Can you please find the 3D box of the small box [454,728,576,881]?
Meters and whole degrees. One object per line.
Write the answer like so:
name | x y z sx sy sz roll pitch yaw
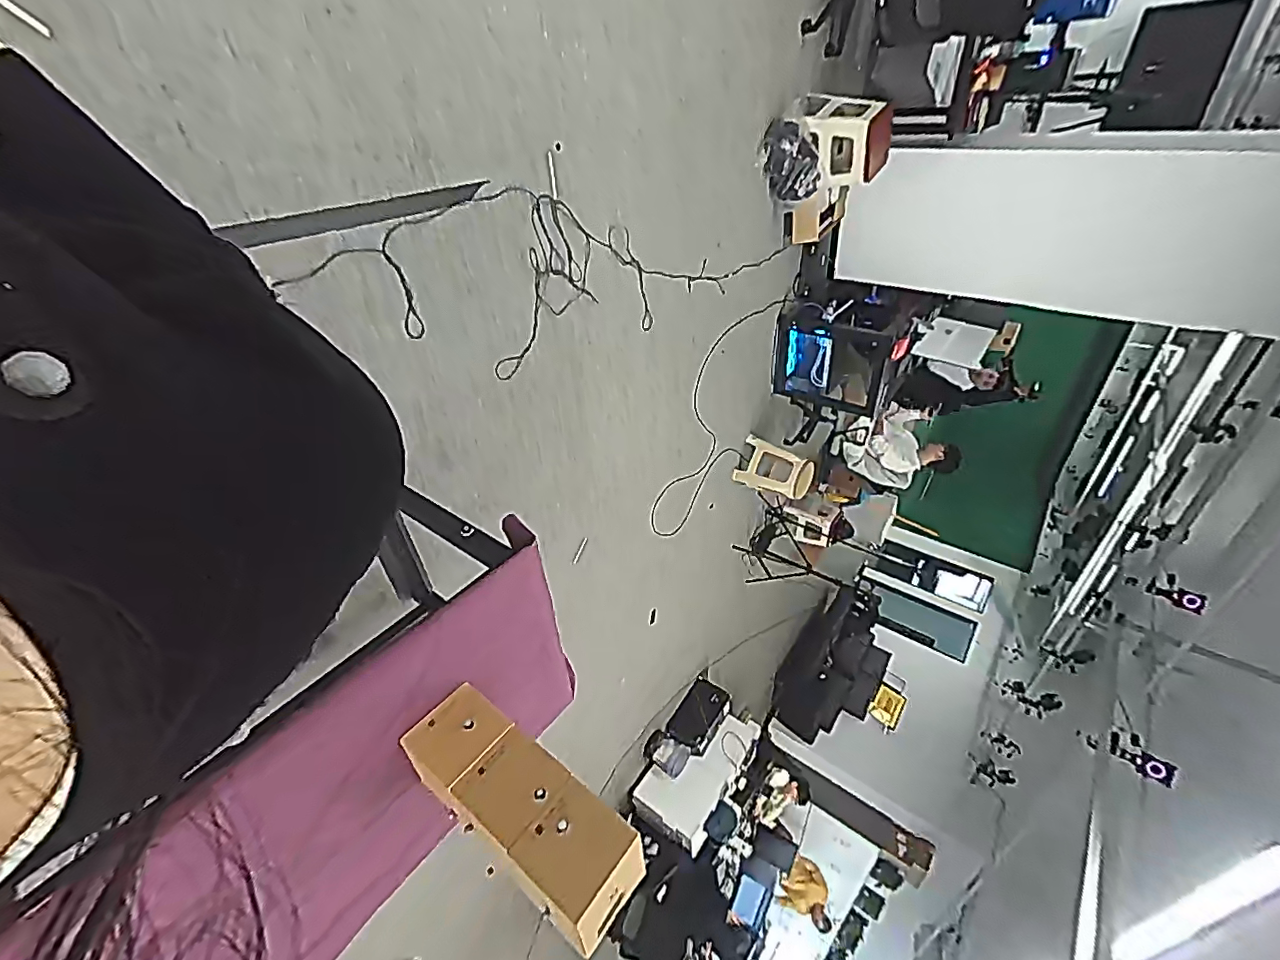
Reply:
small box | -0.236 0.630 1.064 0.168 0.176 0.179 -39 140 -39

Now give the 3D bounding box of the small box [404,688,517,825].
small box | -0.367 0.573 1.145 0.168 0.176 0.179 -39 139 -39

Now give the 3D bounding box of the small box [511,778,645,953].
small box | -0.108 0.684 0.975 0.168 0.176 0.179 -39 138 -39
